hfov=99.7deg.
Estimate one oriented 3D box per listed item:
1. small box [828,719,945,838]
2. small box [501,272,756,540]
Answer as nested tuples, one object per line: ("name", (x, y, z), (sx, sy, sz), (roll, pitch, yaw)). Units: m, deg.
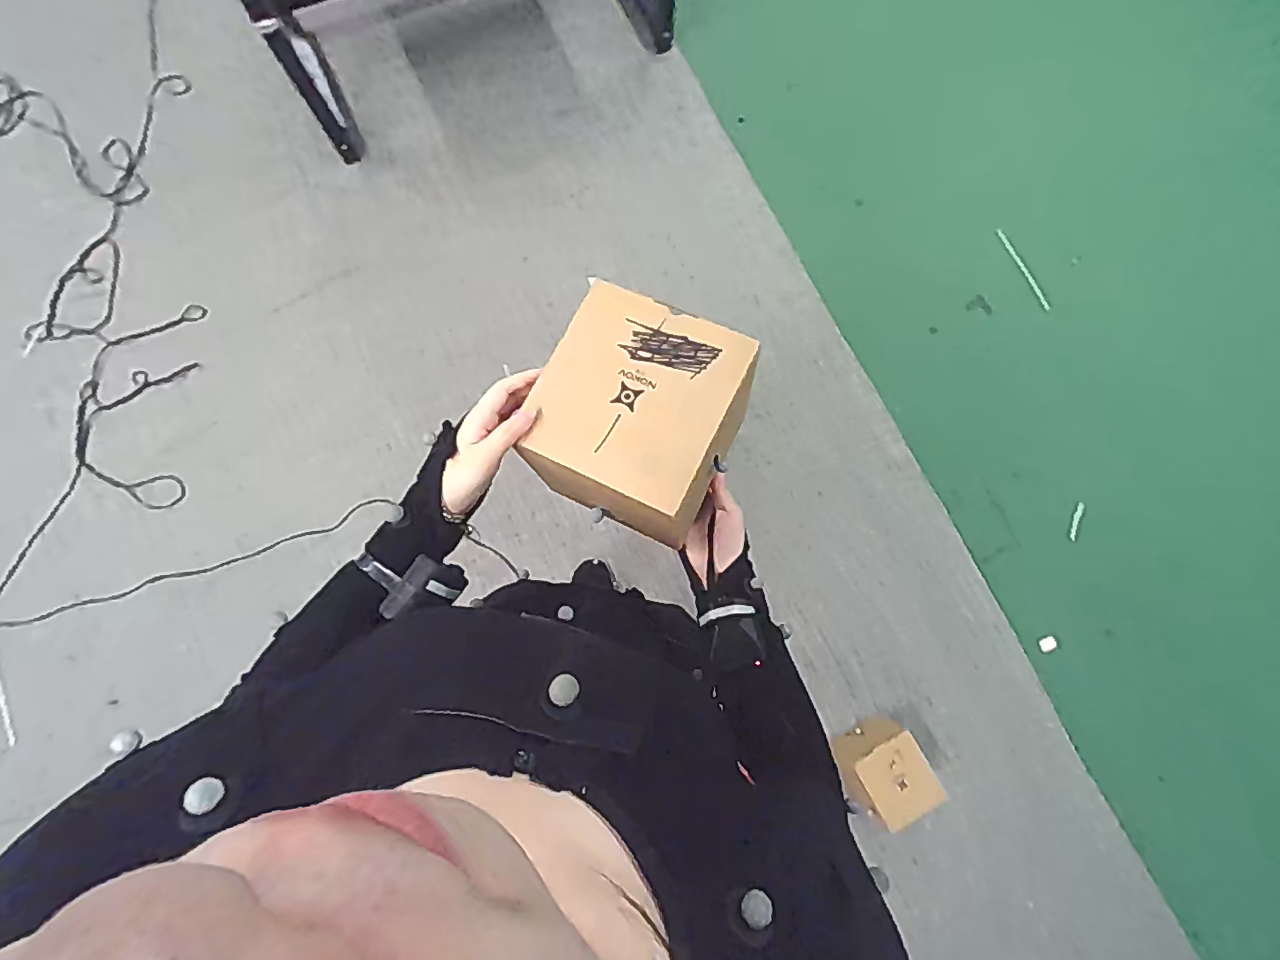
("small box", (0.603, 0.730, 1.345), (0.168, 0.176, 0.179), (-28, 81, -7))
("small box", (-0.003, -0.061, 0.535), (0.168, 0.176, 0.179), (24, 77, 12))
